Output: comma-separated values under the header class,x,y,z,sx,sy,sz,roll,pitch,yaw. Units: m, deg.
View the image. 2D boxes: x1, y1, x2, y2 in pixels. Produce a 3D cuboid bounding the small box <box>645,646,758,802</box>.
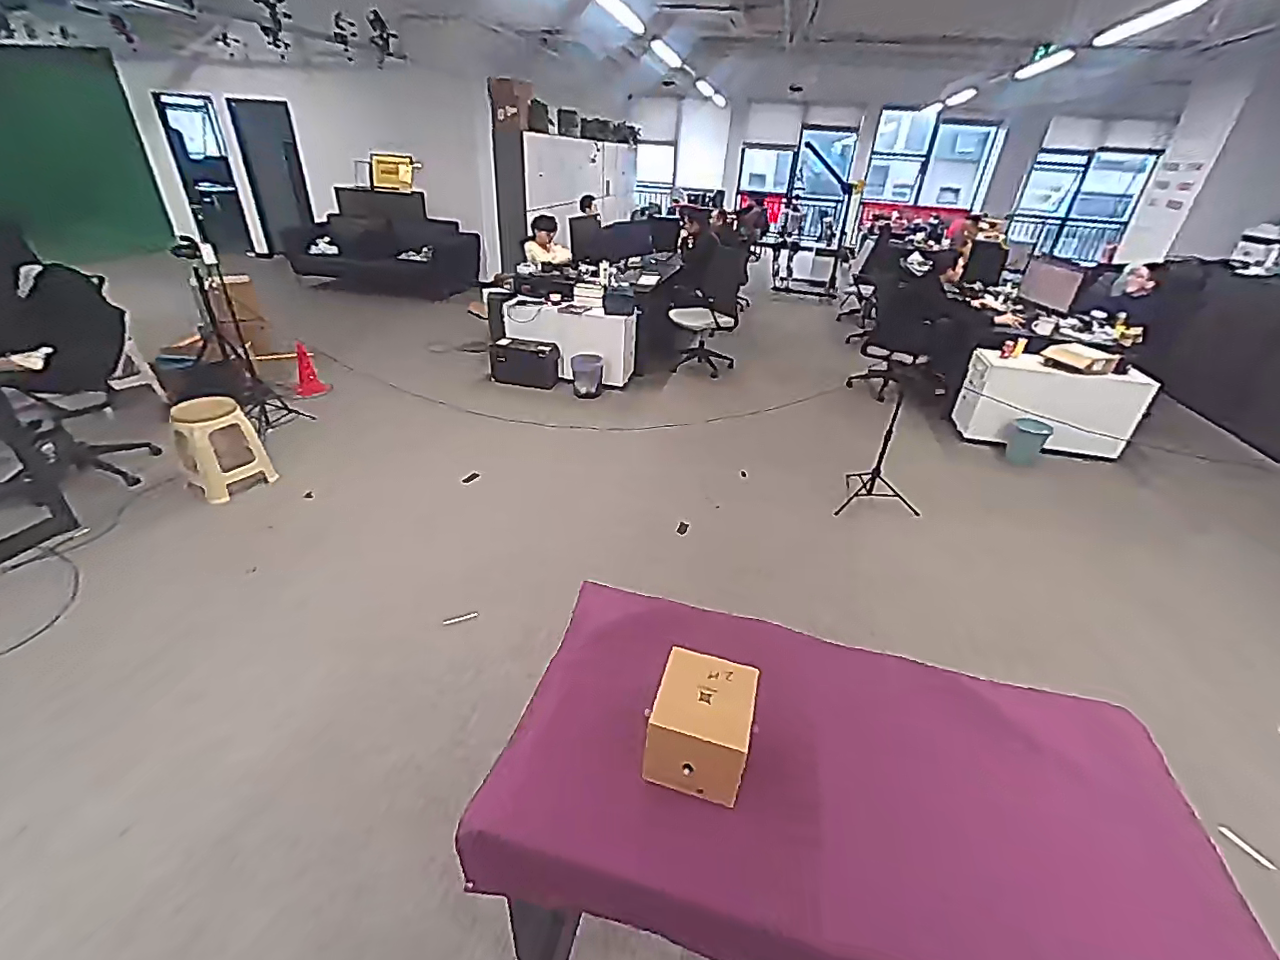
class,x,y,z,sx,sy,sz,roll,pitch,yaw
small box,0.111,0.443,0.987,0.168,0.176,0.179,13,32,13
